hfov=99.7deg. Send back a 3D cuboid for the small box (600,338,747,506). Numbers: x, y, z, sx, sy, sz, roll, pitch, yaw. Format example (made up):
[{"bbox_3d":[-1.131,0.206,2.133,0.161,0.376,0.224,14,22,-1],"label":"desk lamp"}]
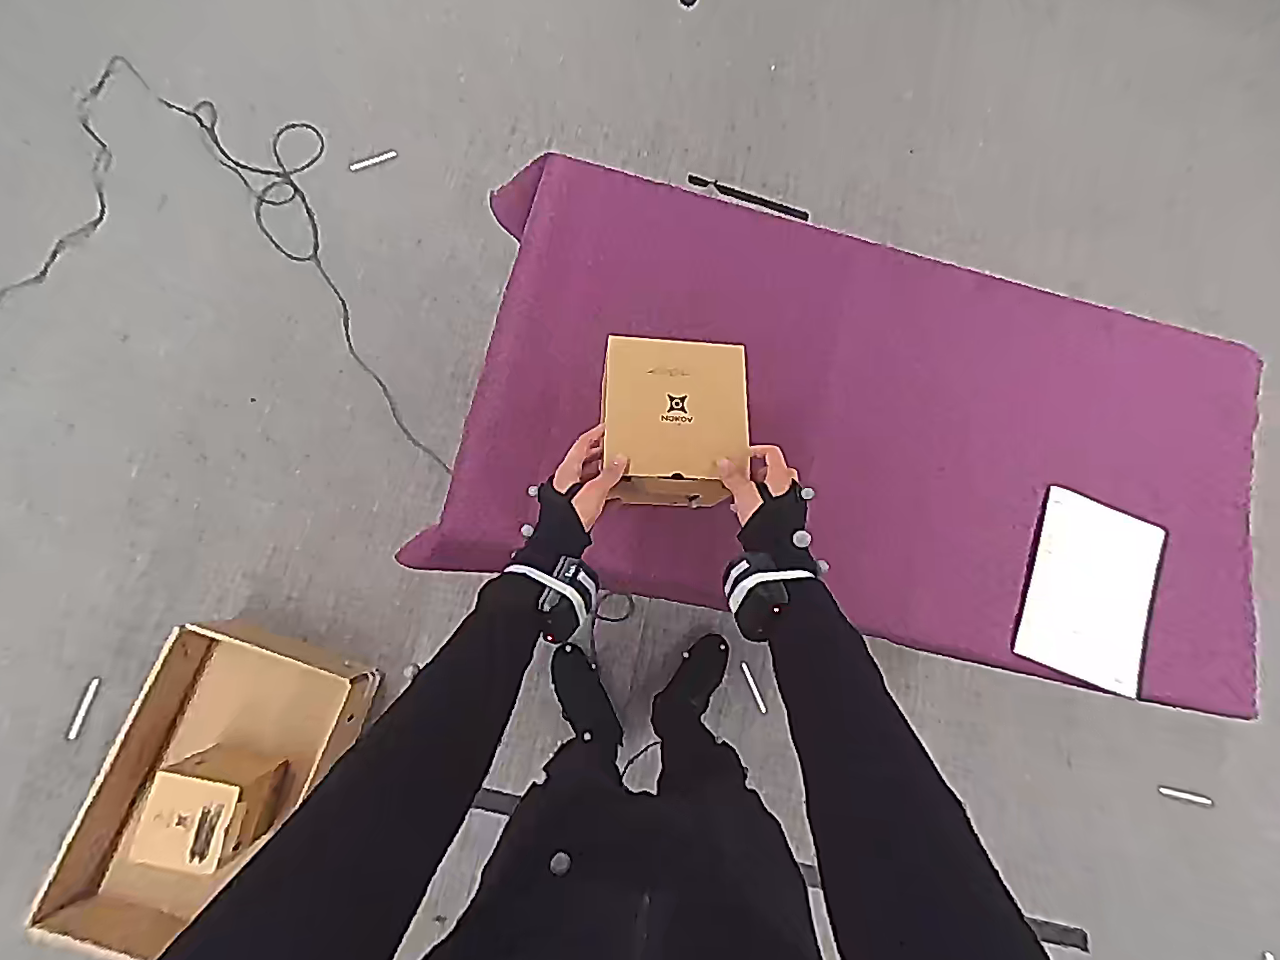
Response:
[{"bbox_3d":[0.035,-0.063,0.702,0.168,0.176,0.179,3,79,-6],"label":"small box"}]
